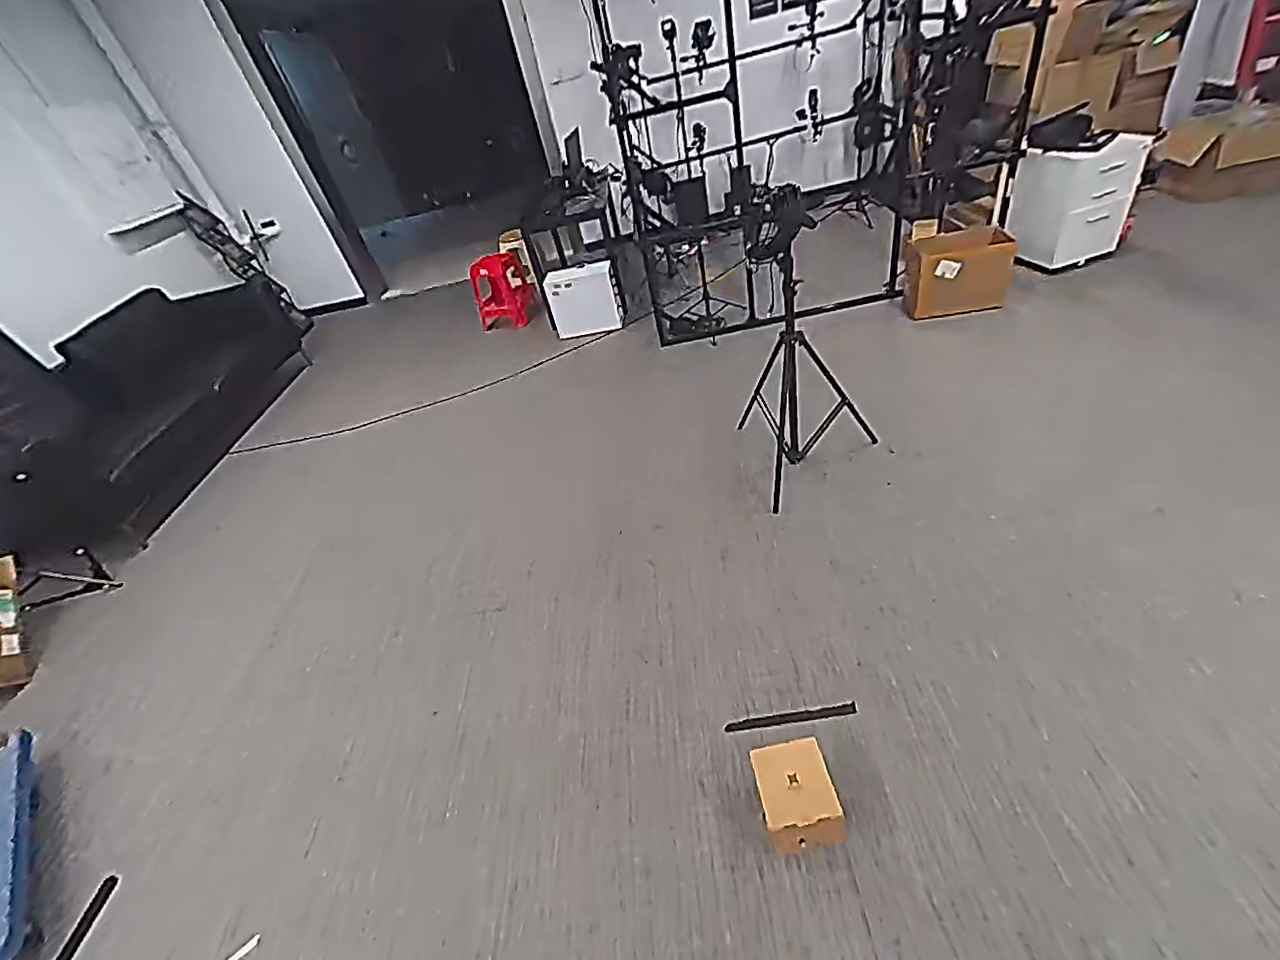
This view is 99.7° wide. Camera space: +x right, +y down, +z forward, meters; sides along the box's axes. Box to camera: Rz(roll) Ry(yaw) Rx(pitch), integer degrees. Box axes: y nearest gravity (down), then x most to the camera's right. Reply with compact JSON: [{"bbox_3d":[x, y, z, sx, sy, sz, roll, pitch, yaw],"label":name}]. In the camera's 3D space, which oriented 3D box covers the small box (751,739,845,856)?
[{"bbox_3d":[0.369,0.752,1.280,0.168,0.176,0.179,-14,39,2],"label":"small box"}]
